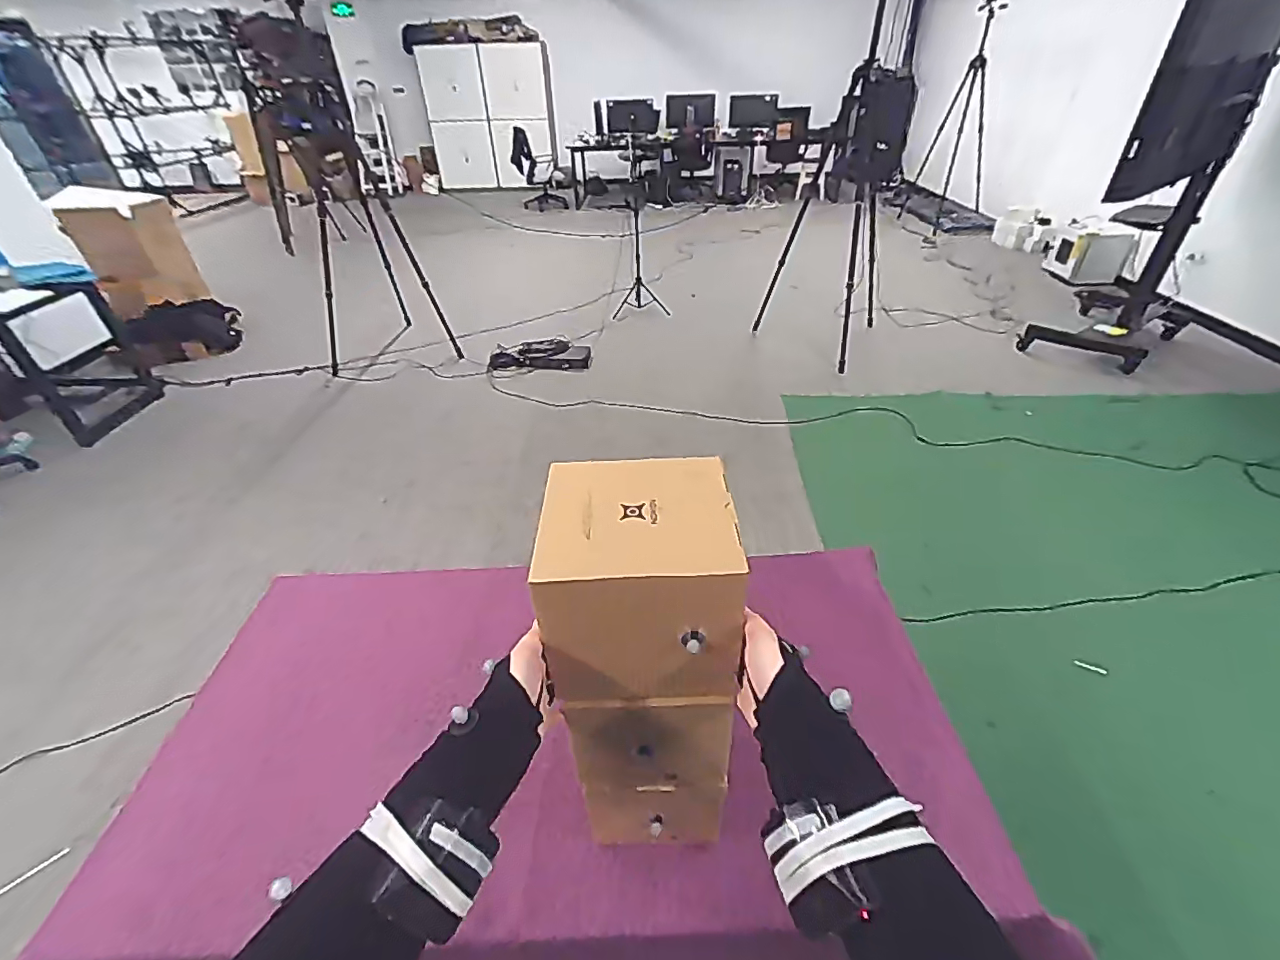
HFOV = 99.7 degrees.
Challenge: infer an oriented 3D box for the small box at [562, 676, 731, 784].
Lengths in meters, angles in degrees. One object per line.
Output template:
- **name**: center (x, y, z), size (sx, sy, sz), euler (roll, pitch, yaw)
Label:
- **small box**: center (0.011, 0.226, 0.624), size (0.168, 0.176, 0.179), euler (1, 36, 2)

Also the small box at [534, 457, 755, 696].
- **small box**: center (0.006, 0.093, 0.531), size (0.179, 0.176, 0.168), euler (-2, 37, 1)

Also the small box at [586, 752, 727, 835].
- **small box**: center (0.023, 0.356, 0.728), size (0.168, 0.176, 0.179), euler (-1, 38, 1)
